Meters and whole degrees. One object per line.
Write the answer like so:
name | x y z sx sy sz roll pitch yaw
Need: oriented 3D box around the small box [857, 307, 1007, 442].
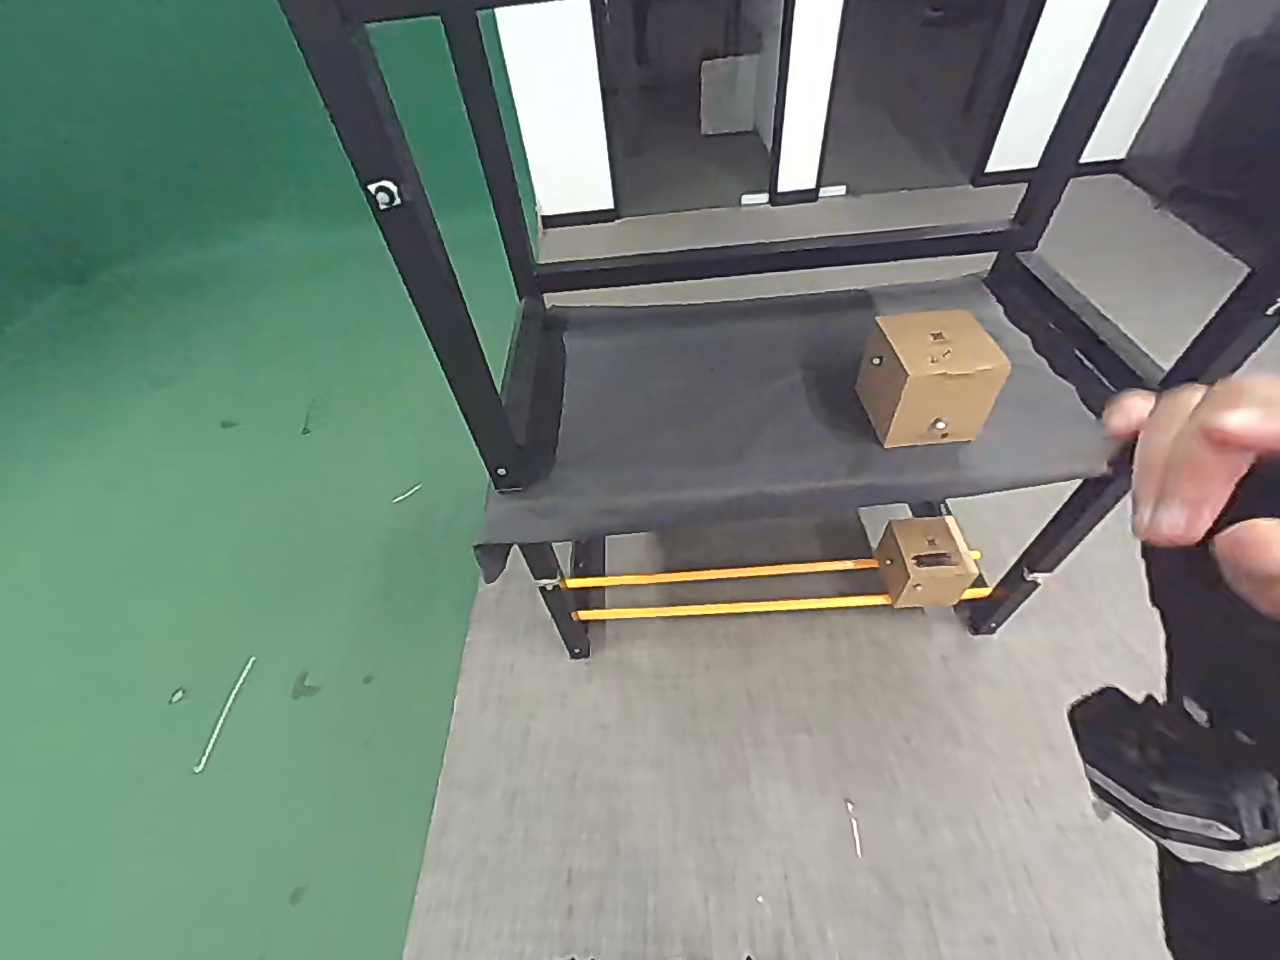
small box | 0.514 -0.191 0.986 0.168 0.176 0.179 -5 48 3
